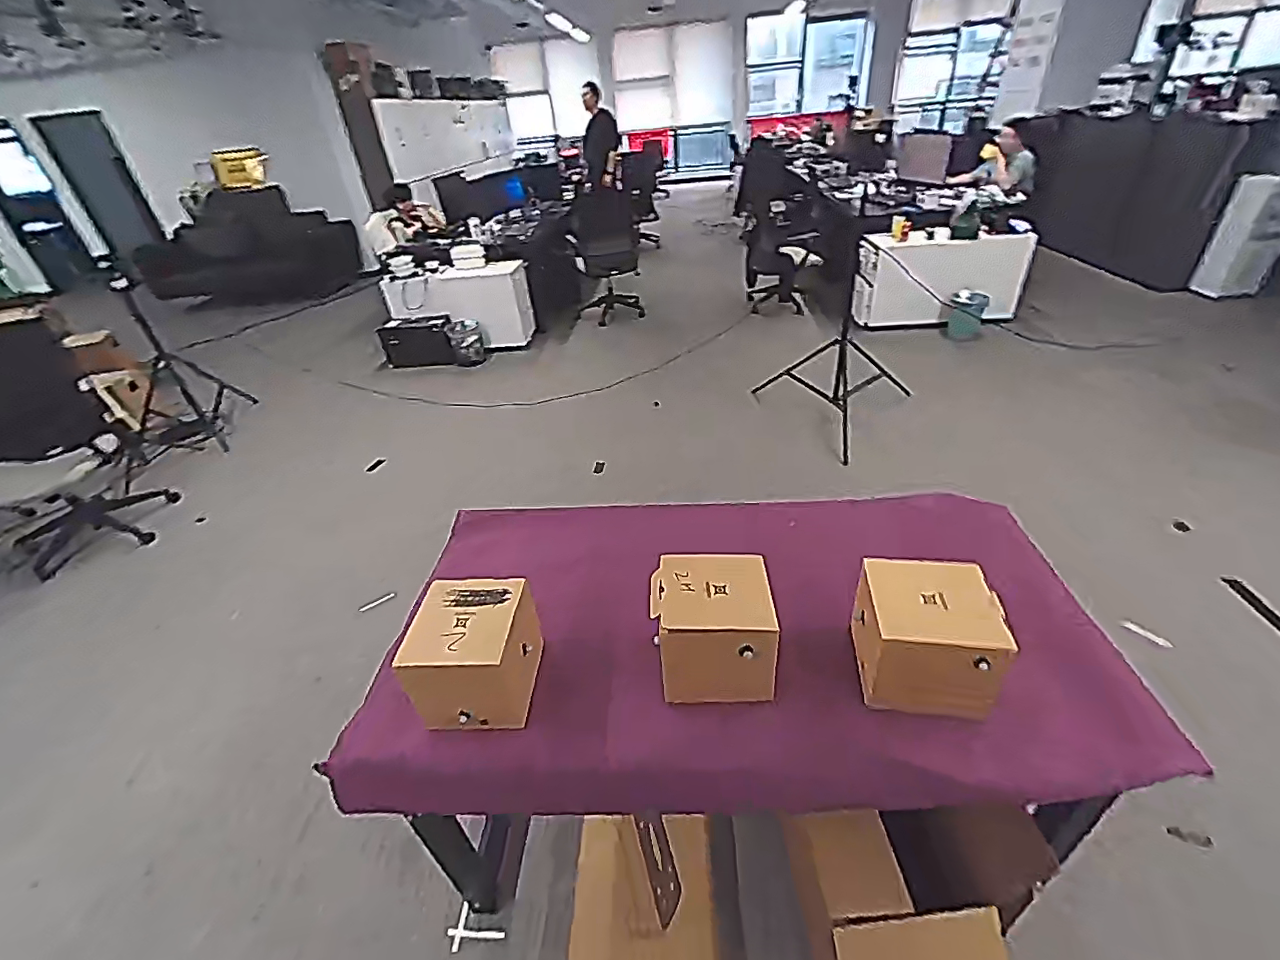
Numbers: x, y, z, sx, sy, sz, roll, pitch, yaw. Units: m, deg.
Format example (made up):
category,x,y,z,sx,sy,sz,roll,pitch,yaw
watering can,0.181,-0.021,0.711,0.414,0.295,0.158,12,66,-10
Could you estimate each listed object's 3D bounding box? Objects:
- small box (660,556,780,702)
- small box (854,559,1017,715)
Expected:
category,x,y,z,sx,sy,sz,roll,pitch,yaw
small box,0.124,0.244,0.887,0.179,0.176,0.168,-3,32,5
small box,0.440,0.243,0.842,0.179,0.176,0.168,1,35,10
